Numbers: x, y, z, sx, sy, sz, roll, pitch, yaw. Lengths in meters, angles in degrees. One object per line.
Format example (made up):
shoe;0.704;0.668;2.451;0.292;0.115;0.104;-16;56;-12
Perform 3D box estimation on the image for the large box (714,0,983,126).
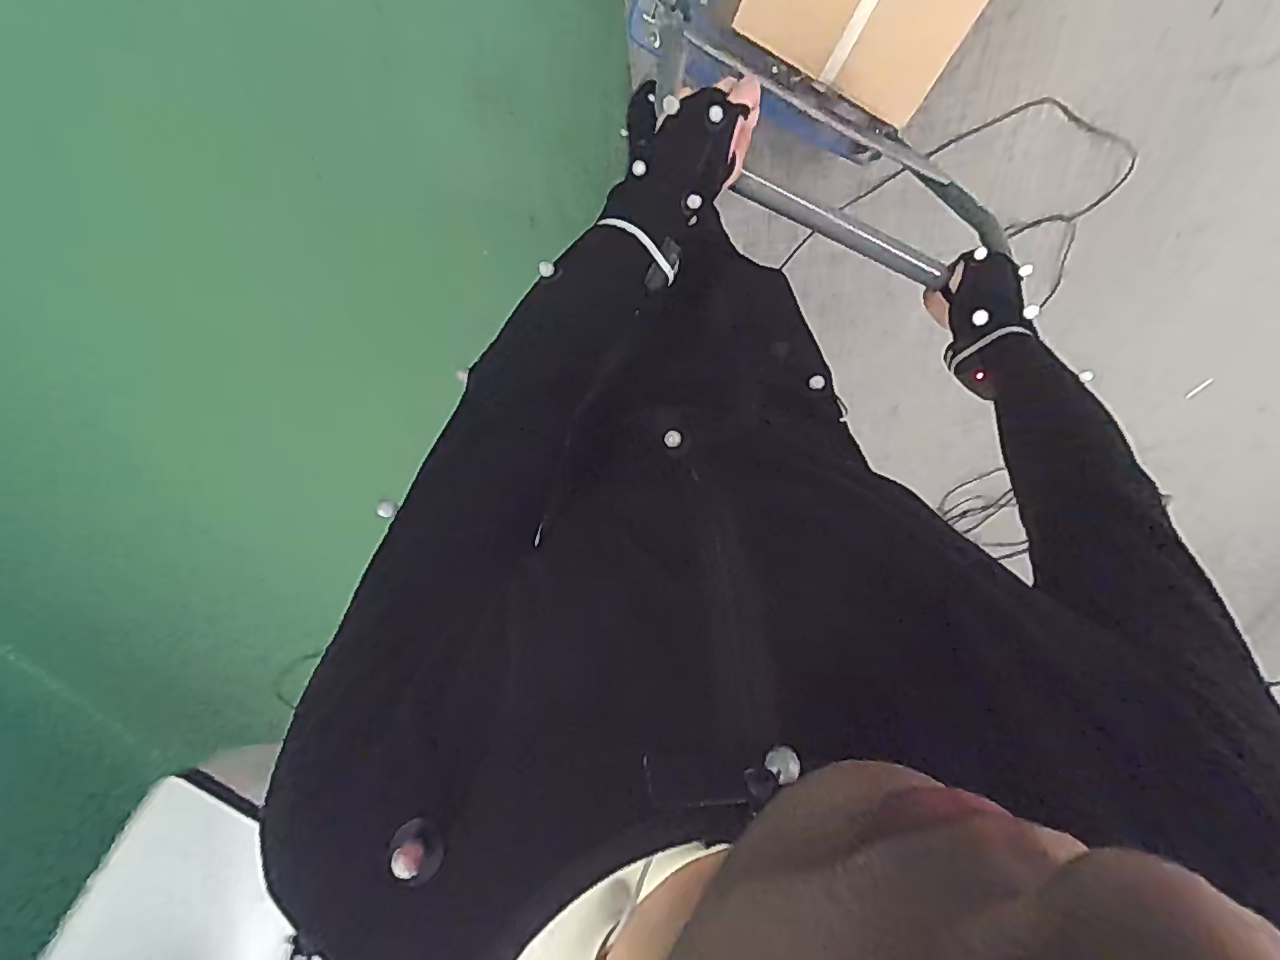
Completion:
large box;0.344;-0.823;0.793;0.320;0.320;0.408;18;128;-16
